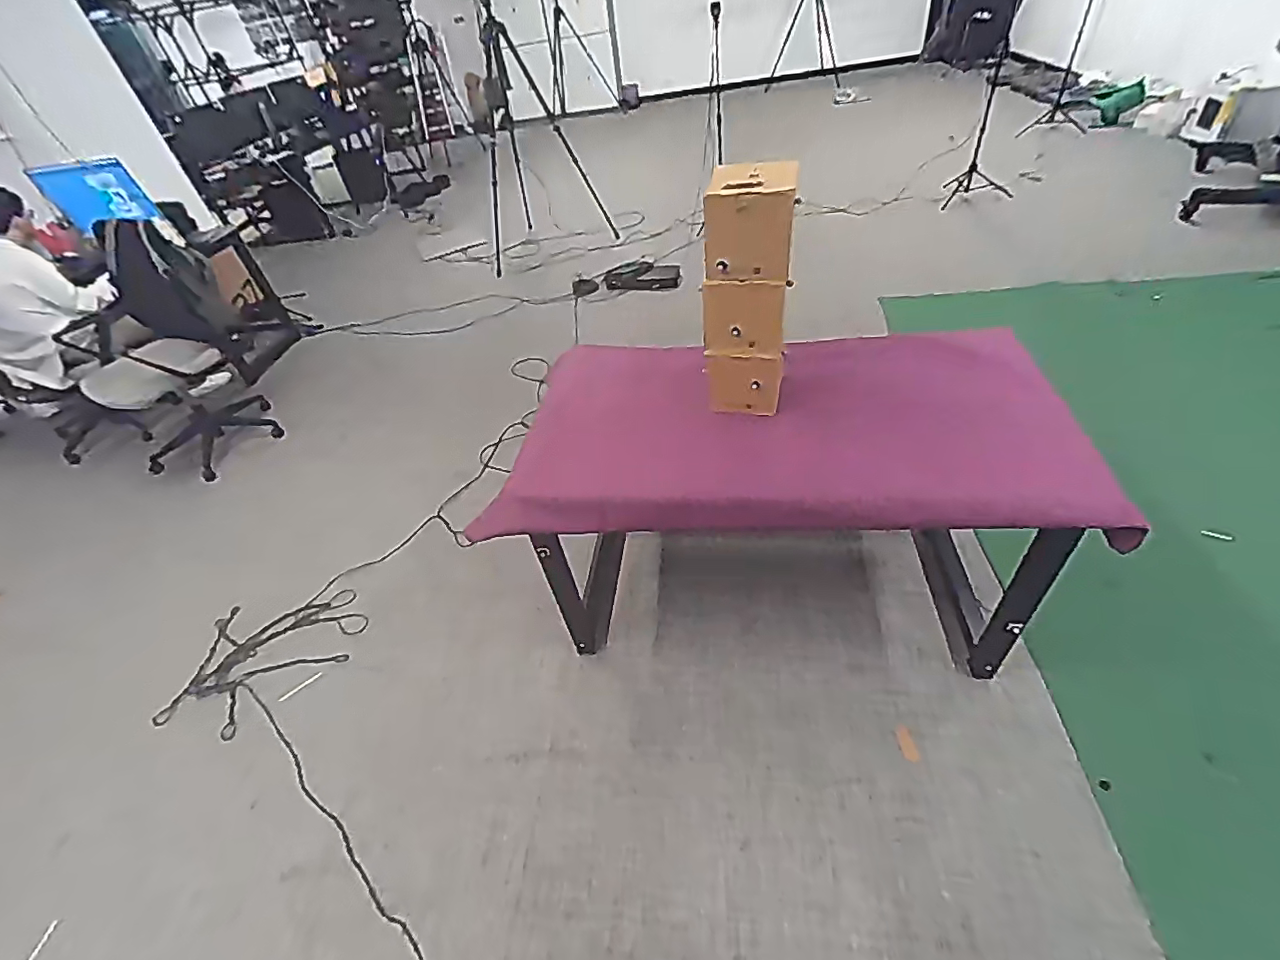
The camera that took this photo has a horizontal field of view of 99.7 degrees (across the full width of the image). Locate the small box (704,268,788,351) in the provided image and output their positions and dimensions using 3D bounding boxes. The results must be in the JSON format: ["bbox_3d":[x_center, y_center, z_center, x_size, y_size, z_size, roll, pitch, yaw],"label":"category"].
[{"bbox_3d":[0.236,-0.402,1.197,0.168,0.176,0.179,5,46,14],"label":"small box"}]

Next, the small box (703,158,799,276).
[{"bbox_3d":[0.225,-0.524,1.087,0.168,0.176,0.179,6,46,14],"label":"small box"}]

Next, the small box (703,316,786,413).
[{"bbox_3d":[0.255,-0.279,1.300,0.168,0.176,0.179,7,46,17],"label":"small box"}]
